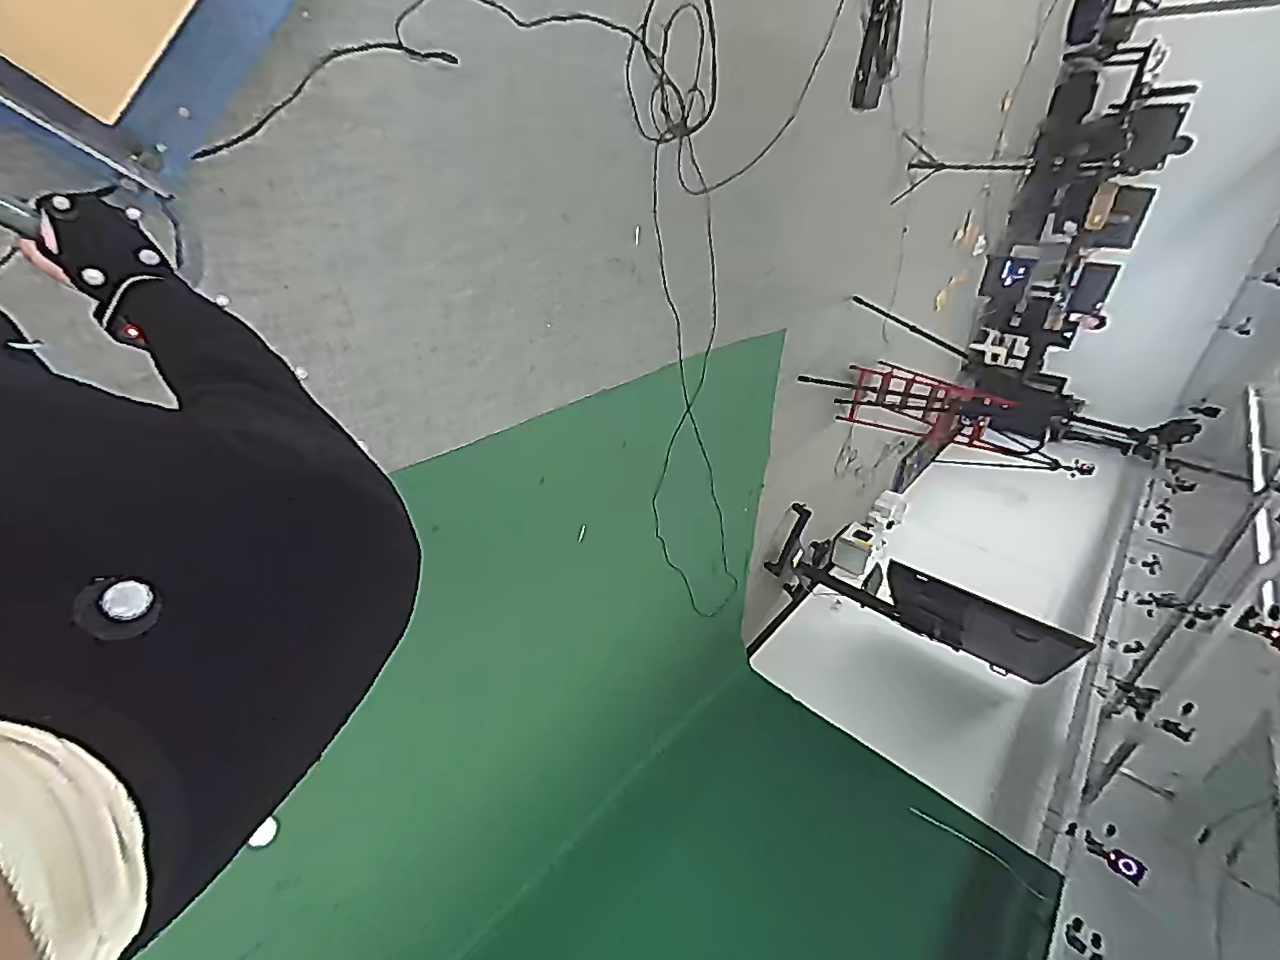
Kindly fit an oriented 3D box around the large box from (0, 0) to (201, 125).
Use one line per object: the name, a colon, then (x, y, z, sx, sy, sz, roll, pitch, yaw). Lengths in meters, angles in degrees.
large box: (-0.814, -0.781, 0.735, 0.408, 0.320, 0.320, -57, 144, 1)
